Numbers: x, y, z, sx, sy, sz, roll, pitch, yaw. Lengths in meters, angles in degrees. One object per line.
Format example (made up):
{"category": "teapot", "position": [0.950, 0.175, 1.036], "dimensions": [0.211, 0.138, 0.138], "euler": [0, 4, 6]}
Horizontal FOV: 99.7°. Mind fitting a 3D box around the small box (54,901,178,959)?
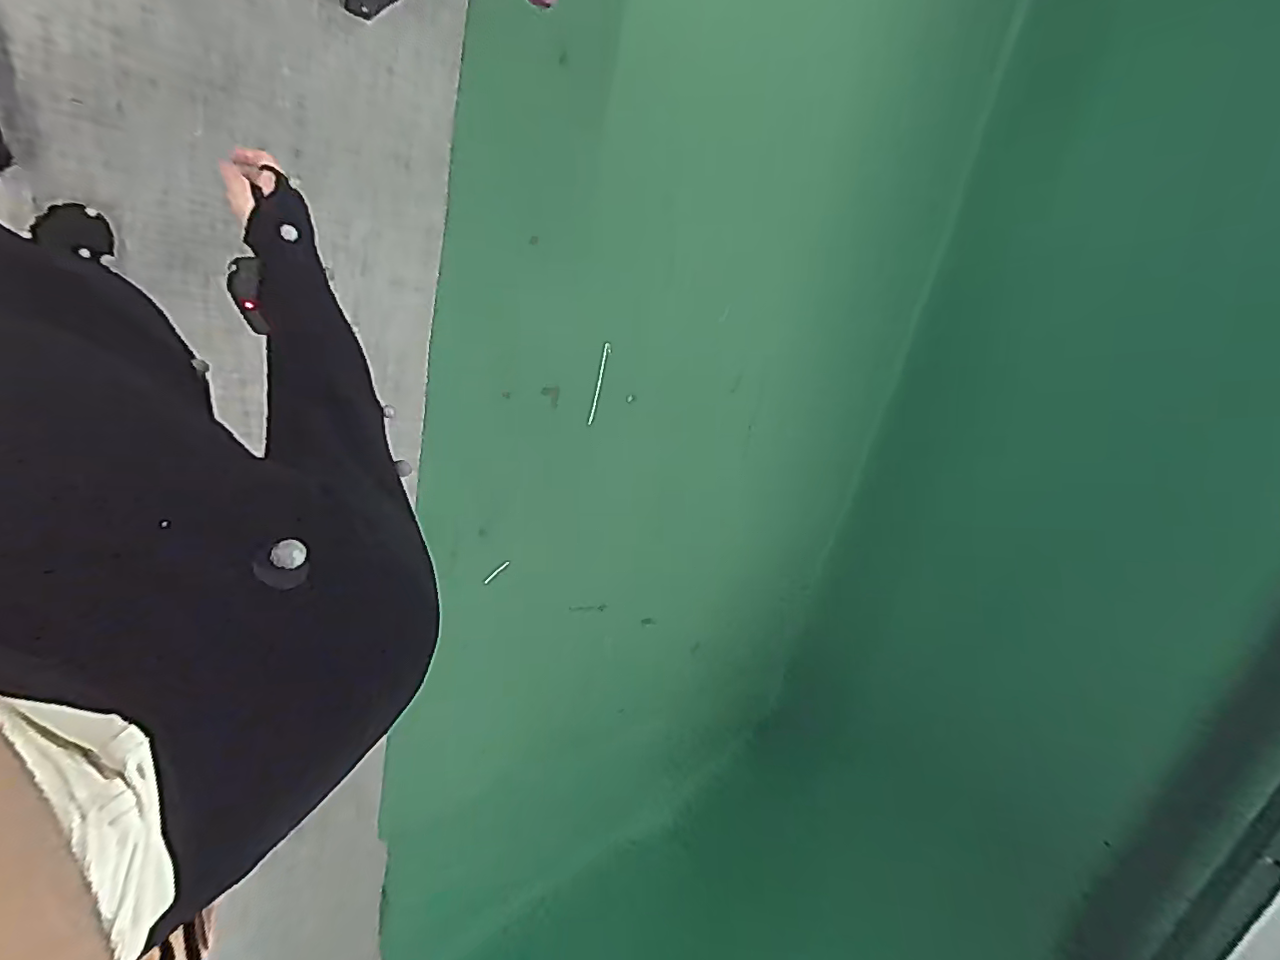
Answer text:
{"category": "small box", "position": [-0.969, 0.948, 1.002], "dimensions": [0.168, 0.176, 0.179], "euler": [0, 112, -45]}
